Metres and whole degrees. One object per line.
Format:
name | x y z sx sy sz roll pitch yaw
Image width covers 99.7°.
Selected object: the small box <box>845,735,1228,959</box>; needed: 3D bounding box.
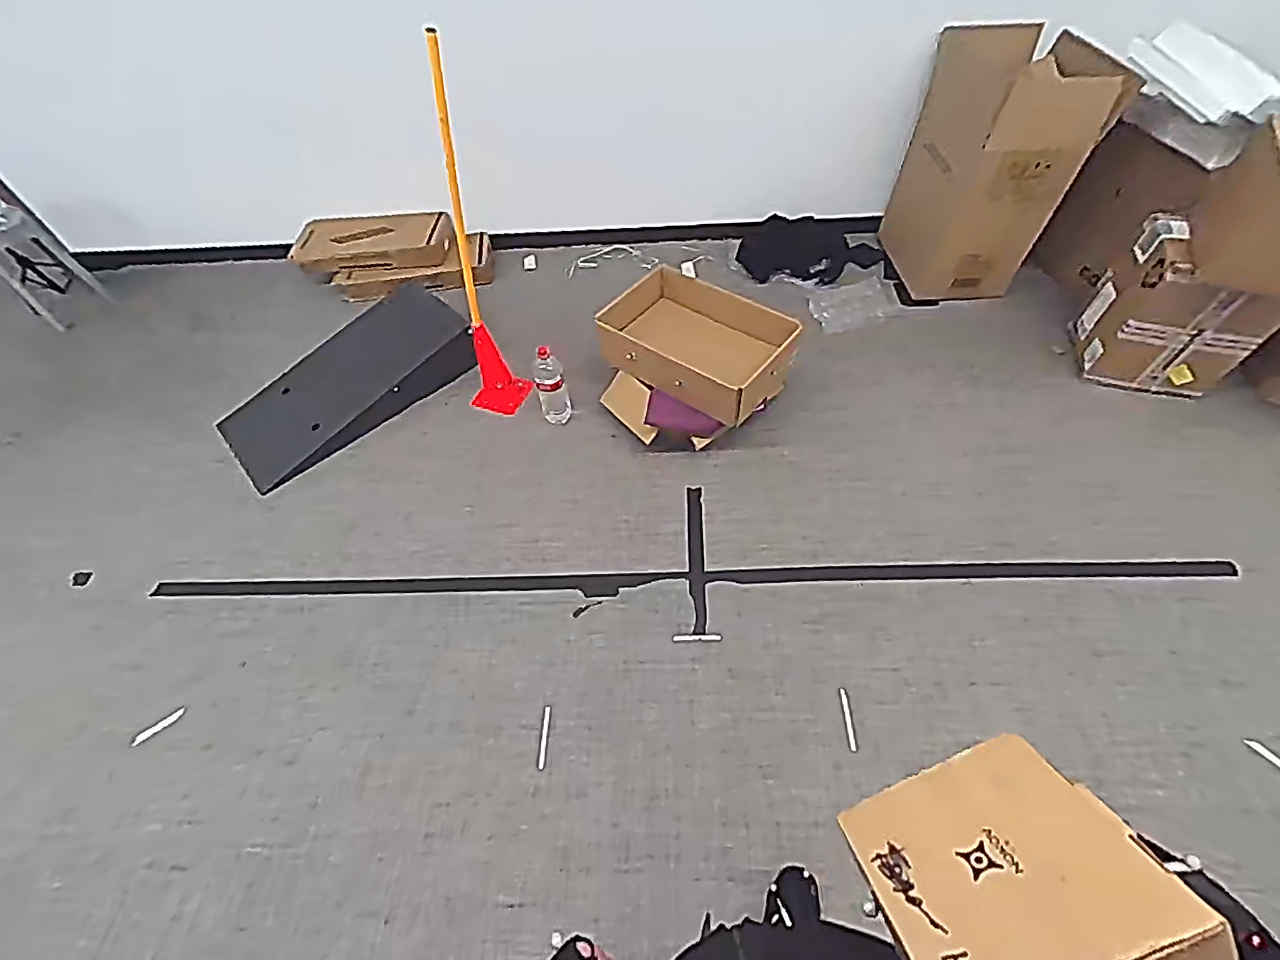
small box | 0.299 0.351 0.425 0.179 0.176 0.168 -26 13 2
